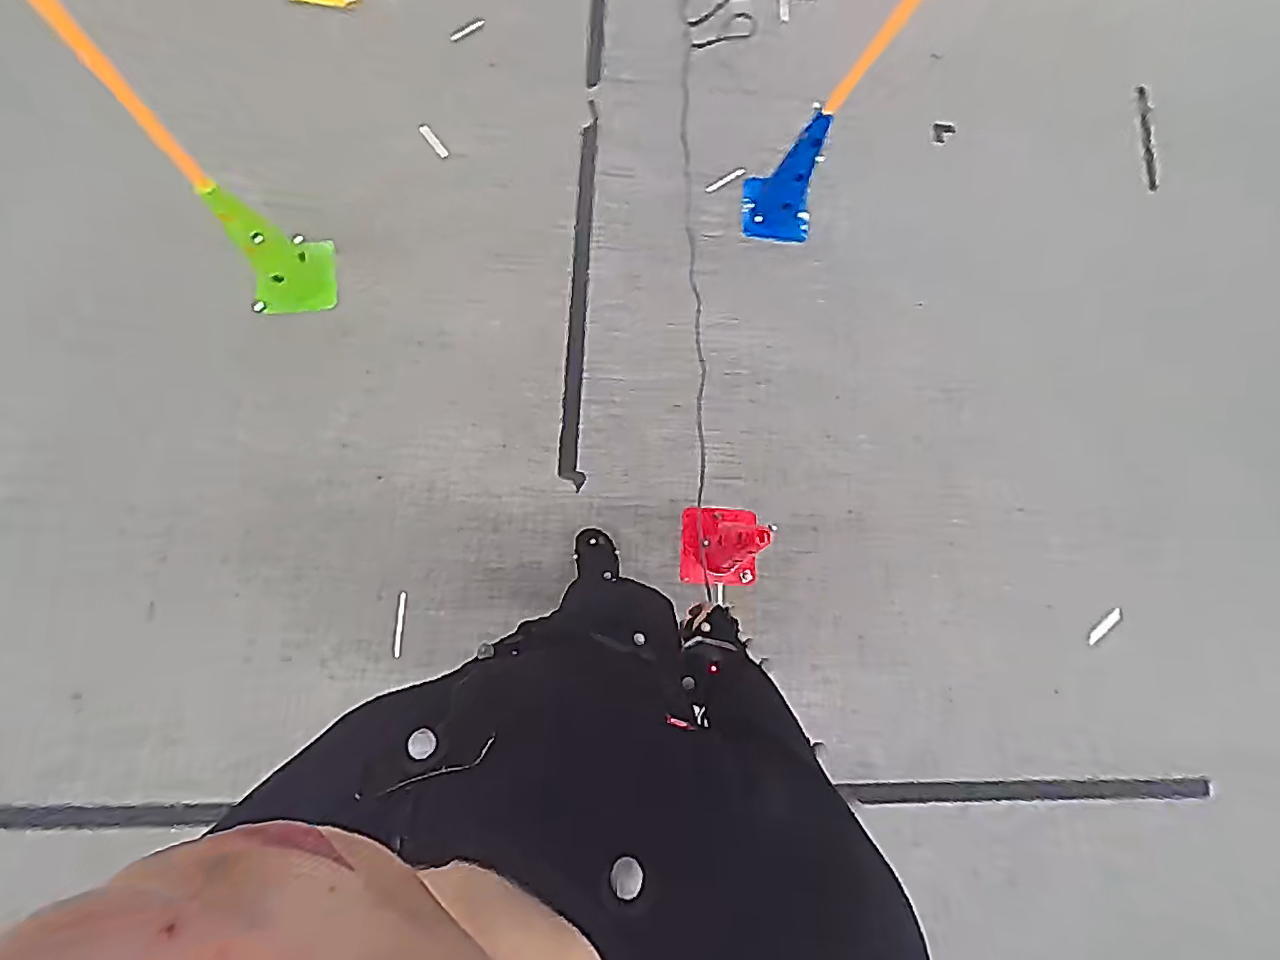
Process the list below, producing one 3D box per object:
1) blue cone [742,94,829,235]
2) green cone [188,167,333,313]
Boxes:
[{"bbox_3d":[0.414,-0.856,1.460,0.193,0.380,0.192,5,79,-5],"label":"blue cone"},{"bbox_3d":[-0.908,-0.578,1.270,0.200,0.368,0.202,-8,79,-7],"label":"green cone"}]
